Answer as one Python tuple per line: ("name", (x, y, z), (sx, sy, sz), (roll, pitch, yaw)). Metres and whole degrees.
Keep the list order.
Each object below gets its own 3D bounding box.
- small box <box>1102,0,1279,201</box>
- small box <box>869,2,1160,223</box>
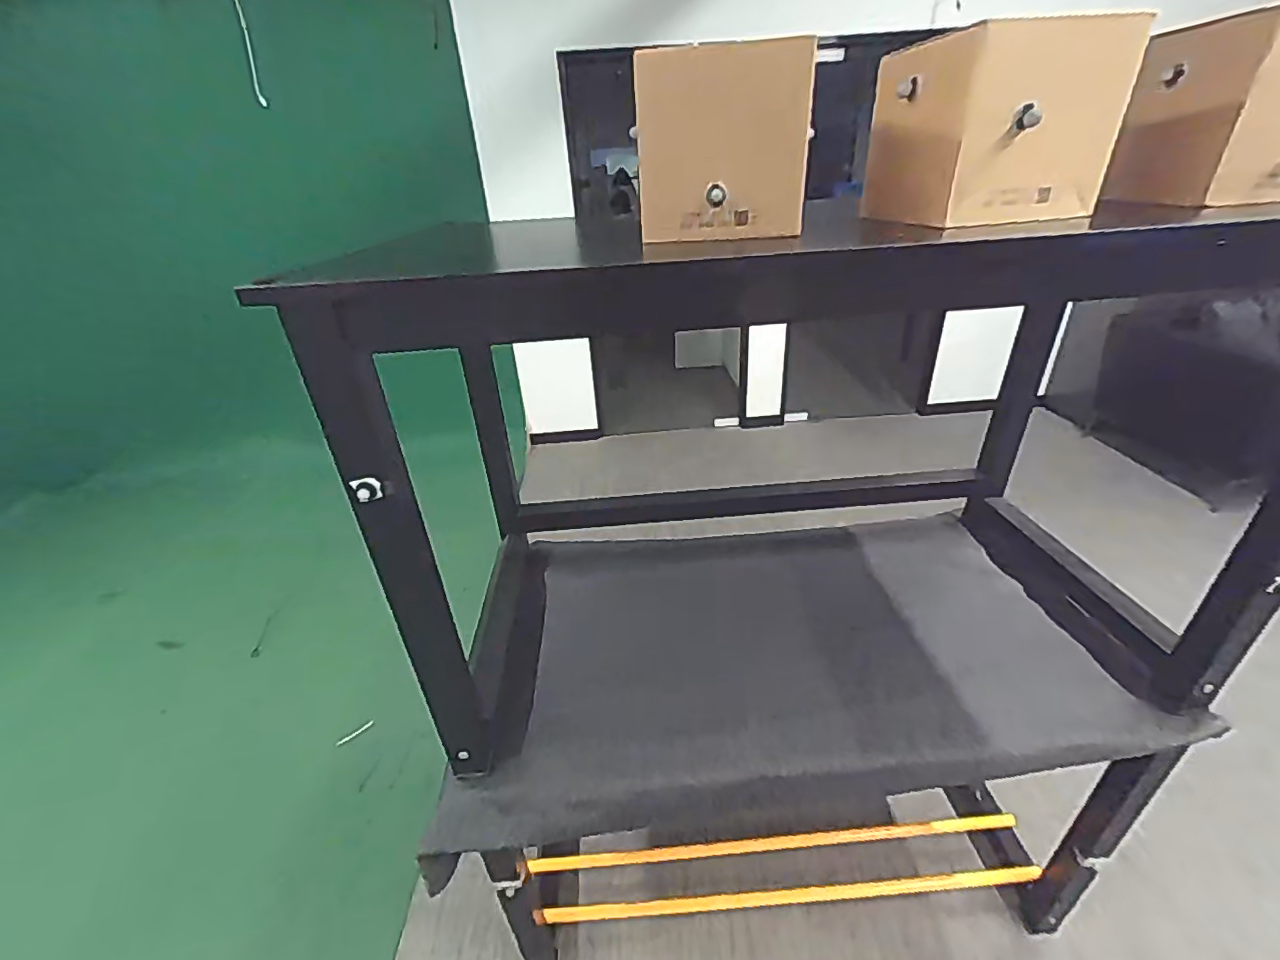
("small box", (0.661, -0.401, 0.583), (0.168, 0.176, 0.179), (-2, 31, 4))
("small box", (0.369, -0.373, 0.575), (0.168, 0.176, 0.179), (-7, 29, -5))
